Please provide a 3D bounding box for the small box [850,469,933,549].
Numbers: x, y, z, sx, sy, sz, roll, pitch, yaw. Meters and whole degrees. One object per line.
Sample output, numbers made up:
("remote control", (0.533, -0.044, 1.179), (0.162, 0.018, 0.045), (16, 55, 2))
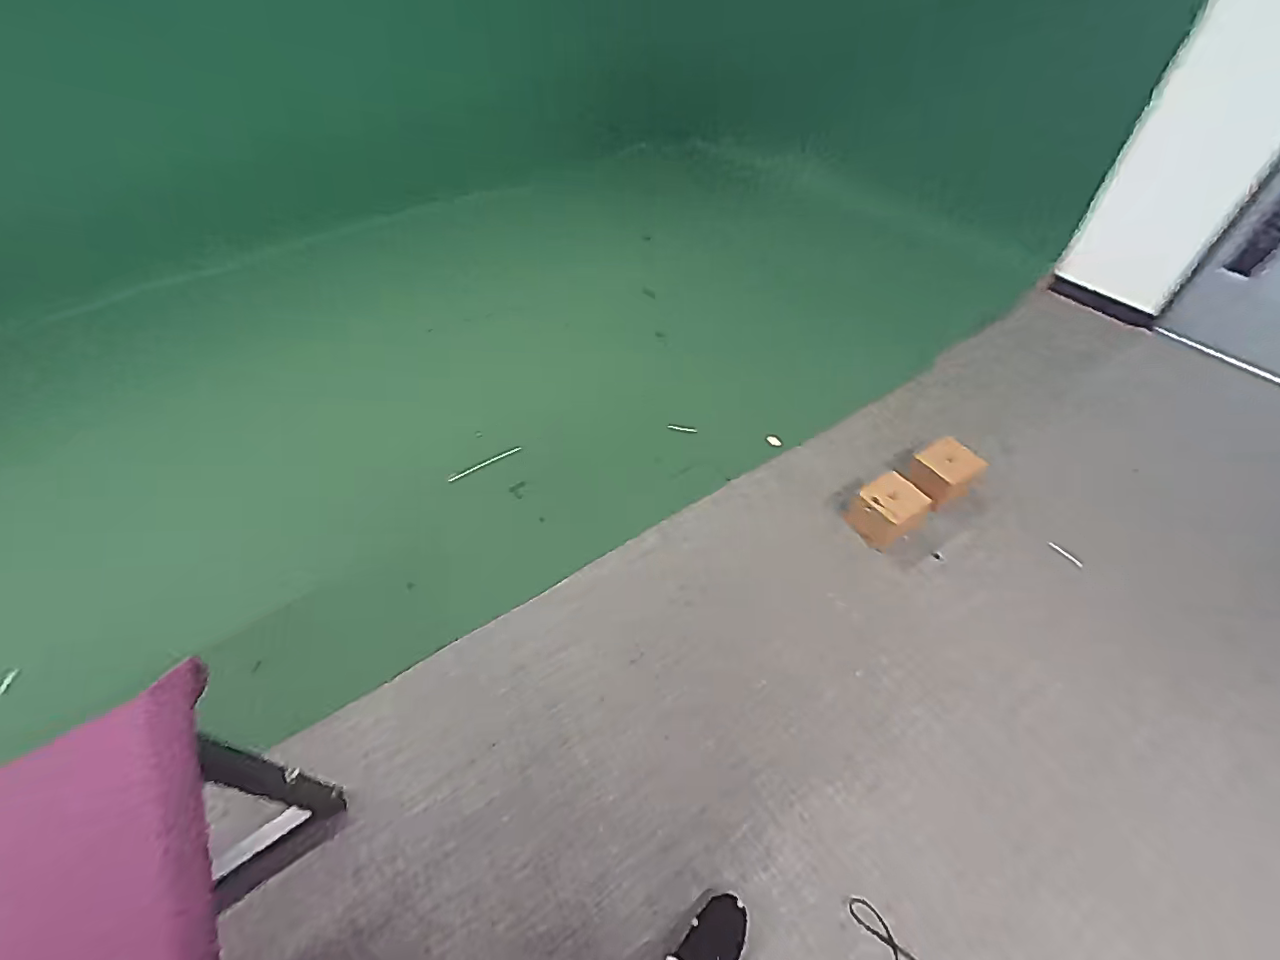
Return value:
("small box", (0.843, 0.100, 1.832), (0.179, 0.176, 0.168), (-28, 53, -19))
